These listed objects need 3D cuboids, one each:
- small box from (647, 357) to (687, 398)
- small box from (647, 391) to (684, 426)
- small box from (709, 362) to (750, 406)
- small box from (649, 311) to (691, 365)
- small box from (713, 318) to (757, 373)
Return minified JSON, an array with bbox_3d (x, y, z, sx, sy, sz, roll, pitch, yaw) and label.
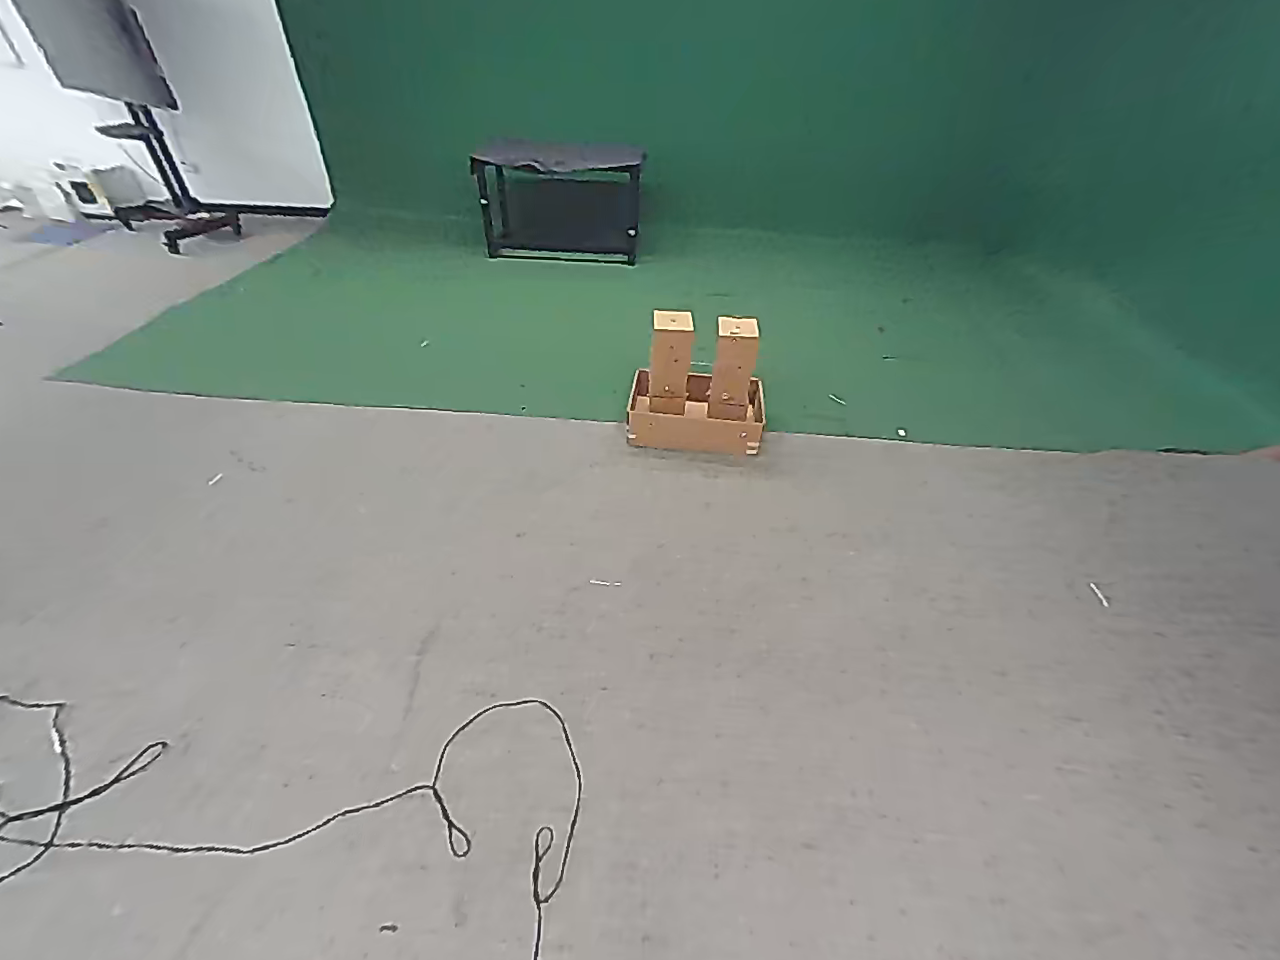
[{"bbox_3d":[0.119,-0.495,2.465,0.168,0.176,0.179,2,43,-2],"label":"small box"},{"bbox_3d":[0.120,-0.379,2.583,0.168,0.176,0.179,3,42,0],"label":"small box"},{"bbox_3d":[0.400,-0.455,2.434,0.168,0.176,0.179,5,43,6],"label":"small box"},{"bbox_3d":[0.128,-0.616,2.354,0.168,0.176,0.179,3,42,-2],"label":"small box"},{"bbox_3d":[0.403,-0.579,2.325,0.168,0.176,0.179,4,40,4],"label":"small box"}]
